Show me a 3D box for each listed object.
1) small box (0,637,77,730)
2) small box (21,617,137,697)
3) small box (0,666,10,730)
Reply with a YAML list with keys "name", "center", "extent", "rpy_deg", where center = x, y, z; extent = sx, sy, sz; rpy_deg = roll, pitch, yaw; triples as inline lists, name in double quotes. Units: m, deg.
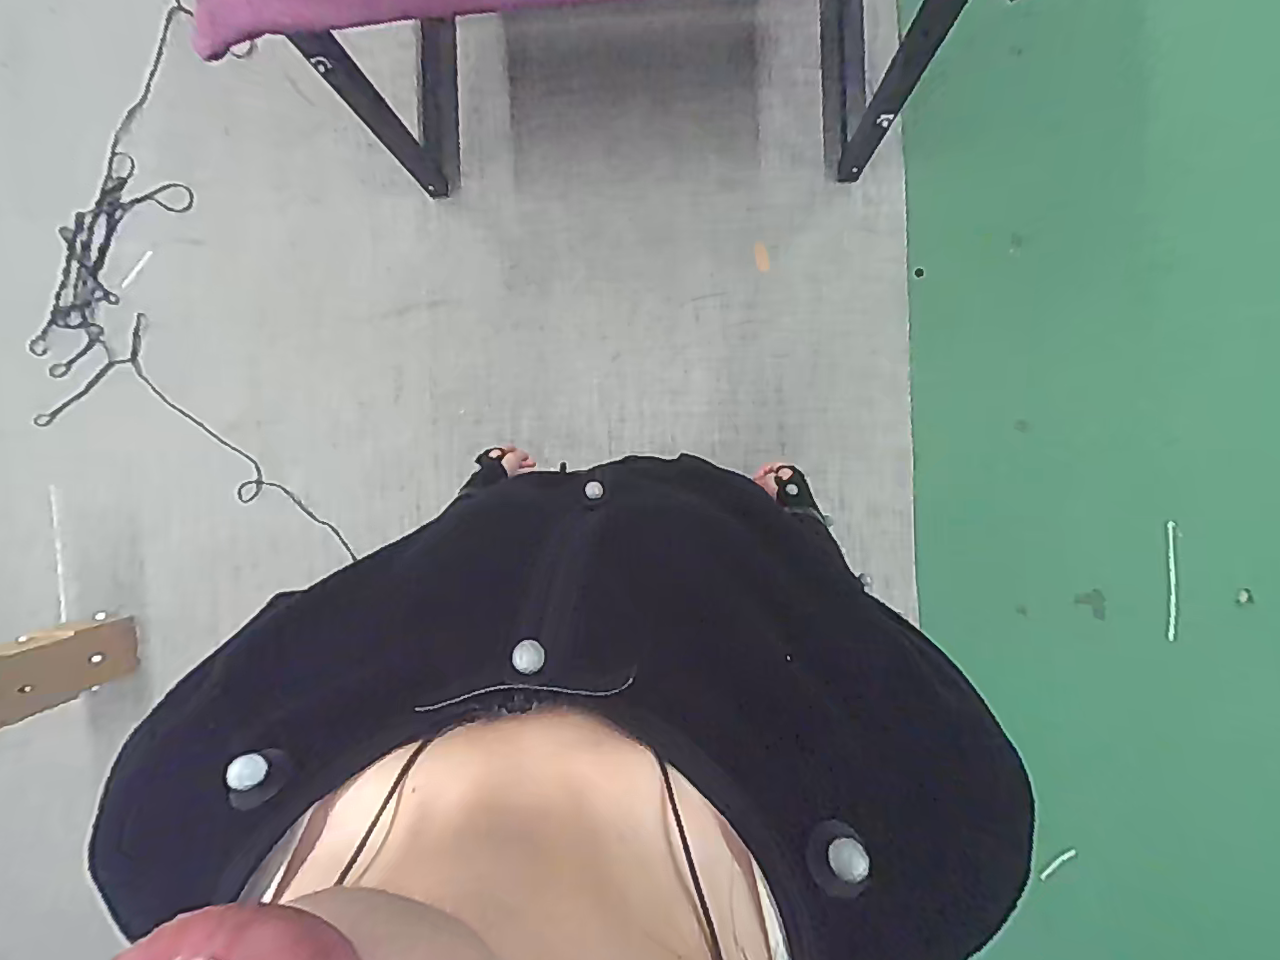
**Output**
- name: "small box"
  center: [-1.604, 0.517, 1.383]
  extent: [0.168, 0.176, 0.179]
  rpy_deg: [-3, 91, 3]
- name: "small box"
  center: [-1.594, 0.503, 1.547]
  extent: [0.168, 0.176, 0.179]
  rpy_deg: [-4, 91, 4]
- name: "small box"
  center: [-1.600, 0.515, 1.220]
  extent: [0.168, 0.176, 0.179]
  rpy_deg: [-5, 90, 3]
